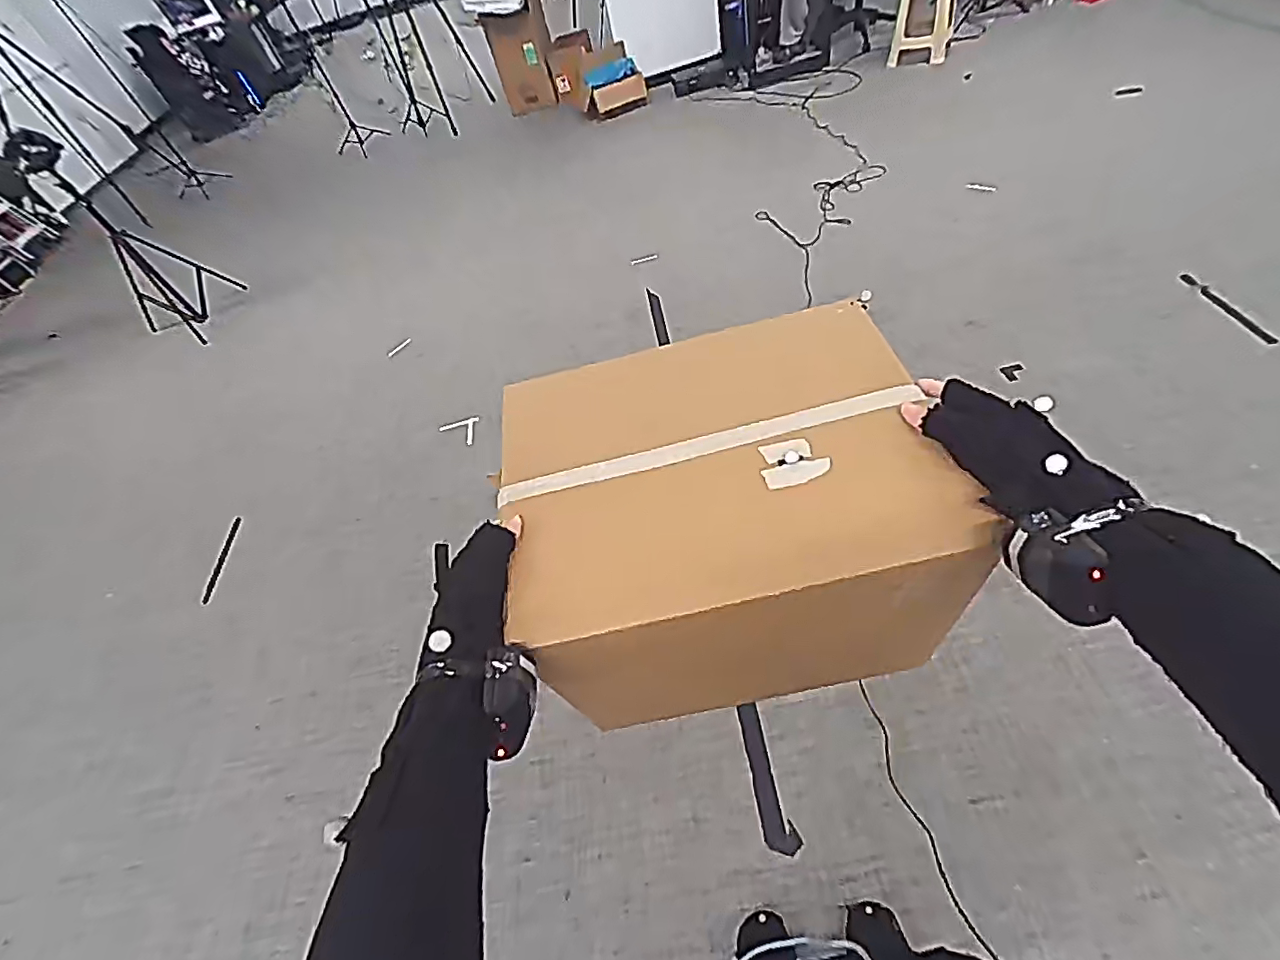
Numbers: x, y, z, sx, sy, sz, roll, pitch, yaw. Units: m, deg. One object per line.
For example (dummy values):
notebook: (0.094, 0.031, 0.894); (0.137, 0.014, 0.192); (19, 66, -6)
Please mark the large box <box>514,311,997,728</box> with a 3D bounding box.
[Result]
large box: (0.095, 0.061, 0.643); (0.408, 0.320, 0.320); (-14, 53, 3)
